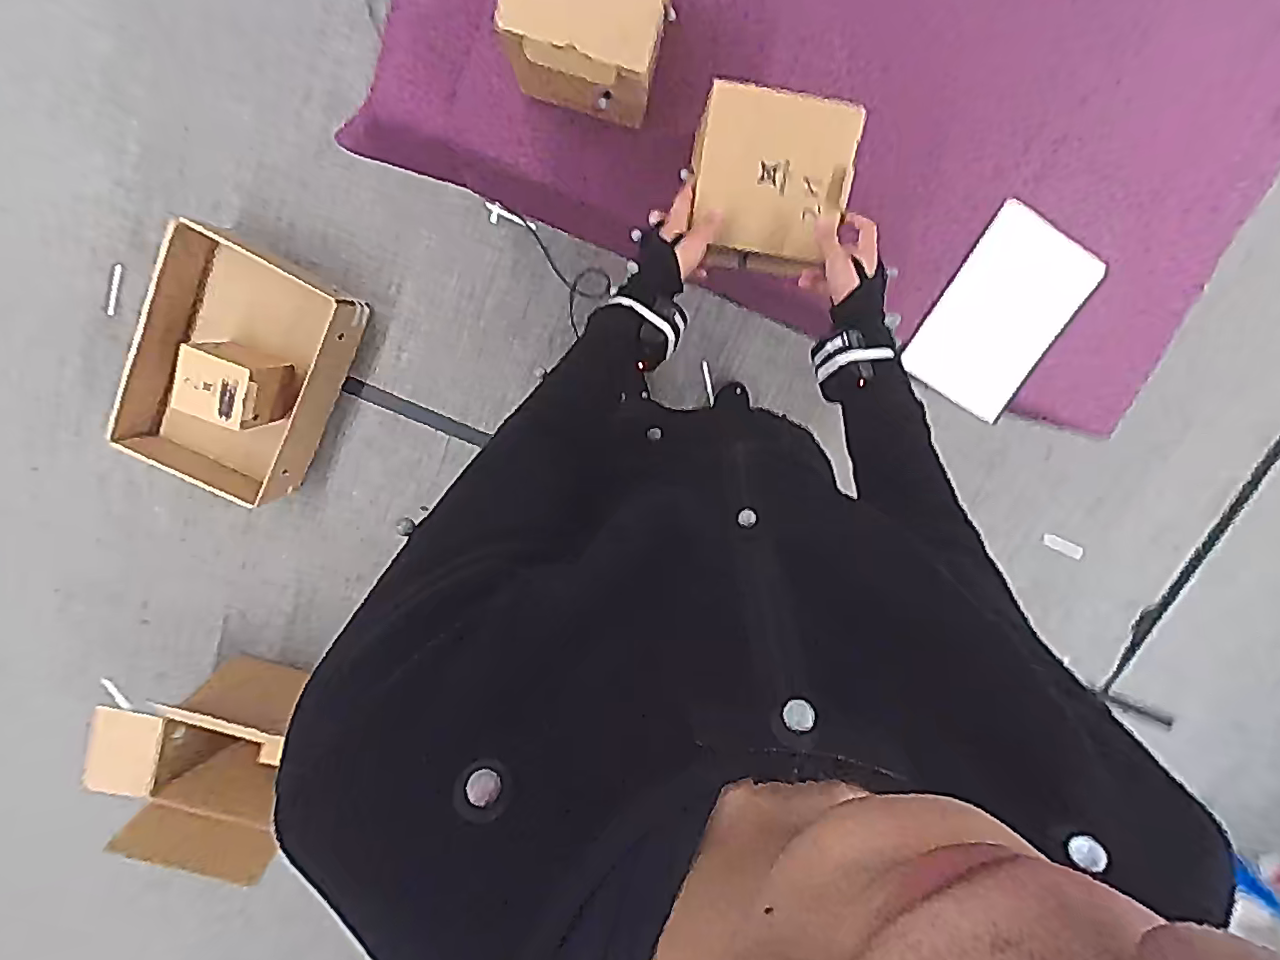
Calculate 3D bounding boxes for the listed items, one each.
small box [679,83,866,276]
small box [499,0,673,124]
[{"bbox_3d":[0.151,-0.365,0.691,0.179,0.176,0.168,8,106,-4],"label":"small box"},{"bbox_3d":[-0.051,-0.556,0.633,0.168,0.176,0.179,14,105,-6],"label":"small box"}]
